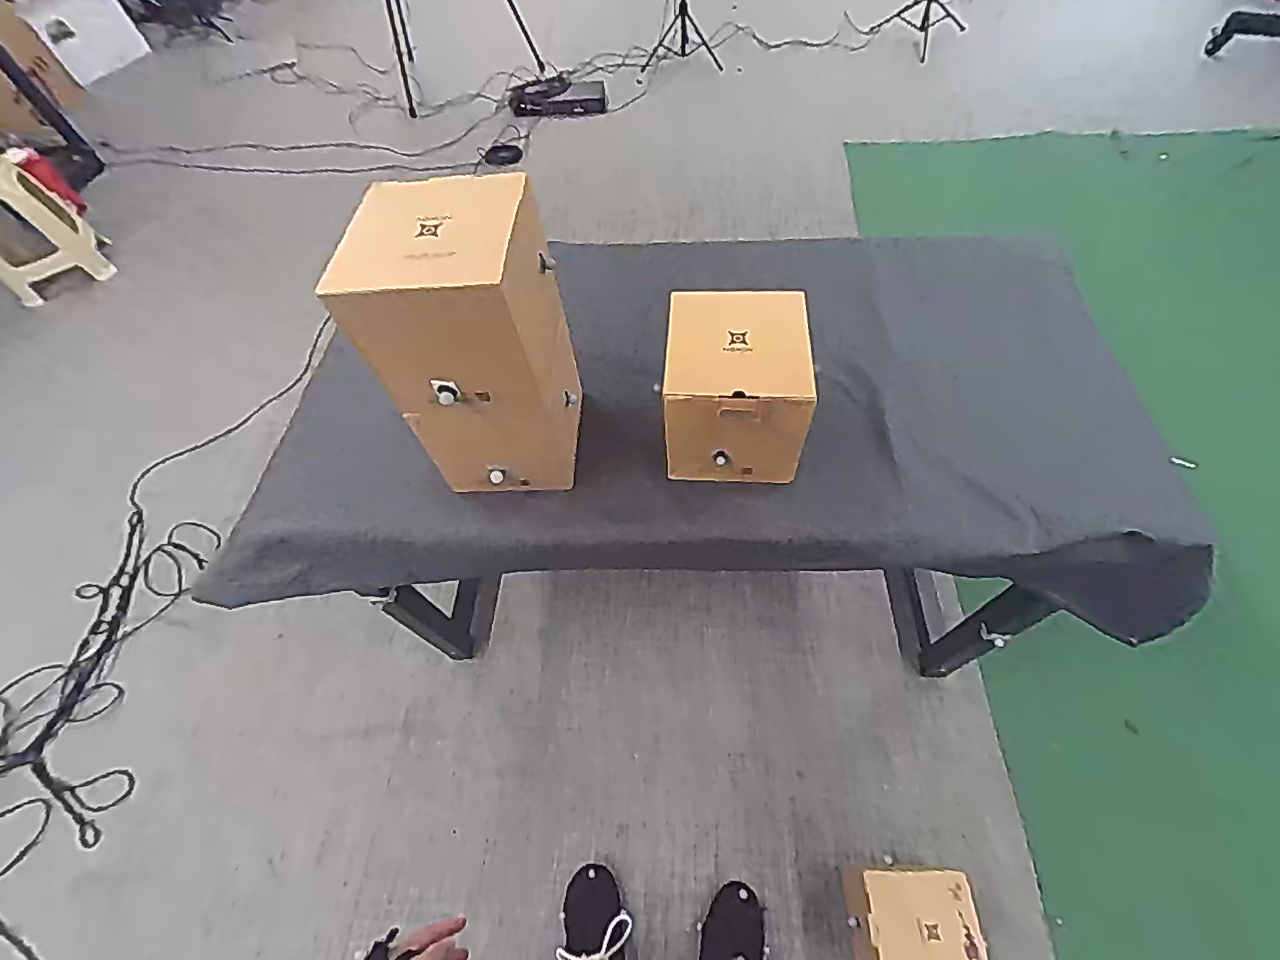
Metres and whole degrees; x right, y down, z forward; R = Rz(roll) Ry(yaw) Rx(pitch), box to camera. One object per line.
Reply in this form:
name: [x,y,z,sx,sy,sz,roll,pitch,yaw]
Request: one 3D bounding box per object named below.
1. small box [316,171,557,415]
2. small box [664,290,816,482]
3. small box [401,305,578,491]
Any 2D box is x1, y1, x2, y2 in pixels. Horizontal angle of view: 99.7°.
small box: [-0.188,-0.189,0.564,0.168,0.176,0.179,-2,58,4]
small box: [0.116,-0.118,0.690,0.168,0.176,0.179,1,58,5]
small box: [-0.176,-0.102,0.700,0.168,0.176,0.179,-1,58,4]
